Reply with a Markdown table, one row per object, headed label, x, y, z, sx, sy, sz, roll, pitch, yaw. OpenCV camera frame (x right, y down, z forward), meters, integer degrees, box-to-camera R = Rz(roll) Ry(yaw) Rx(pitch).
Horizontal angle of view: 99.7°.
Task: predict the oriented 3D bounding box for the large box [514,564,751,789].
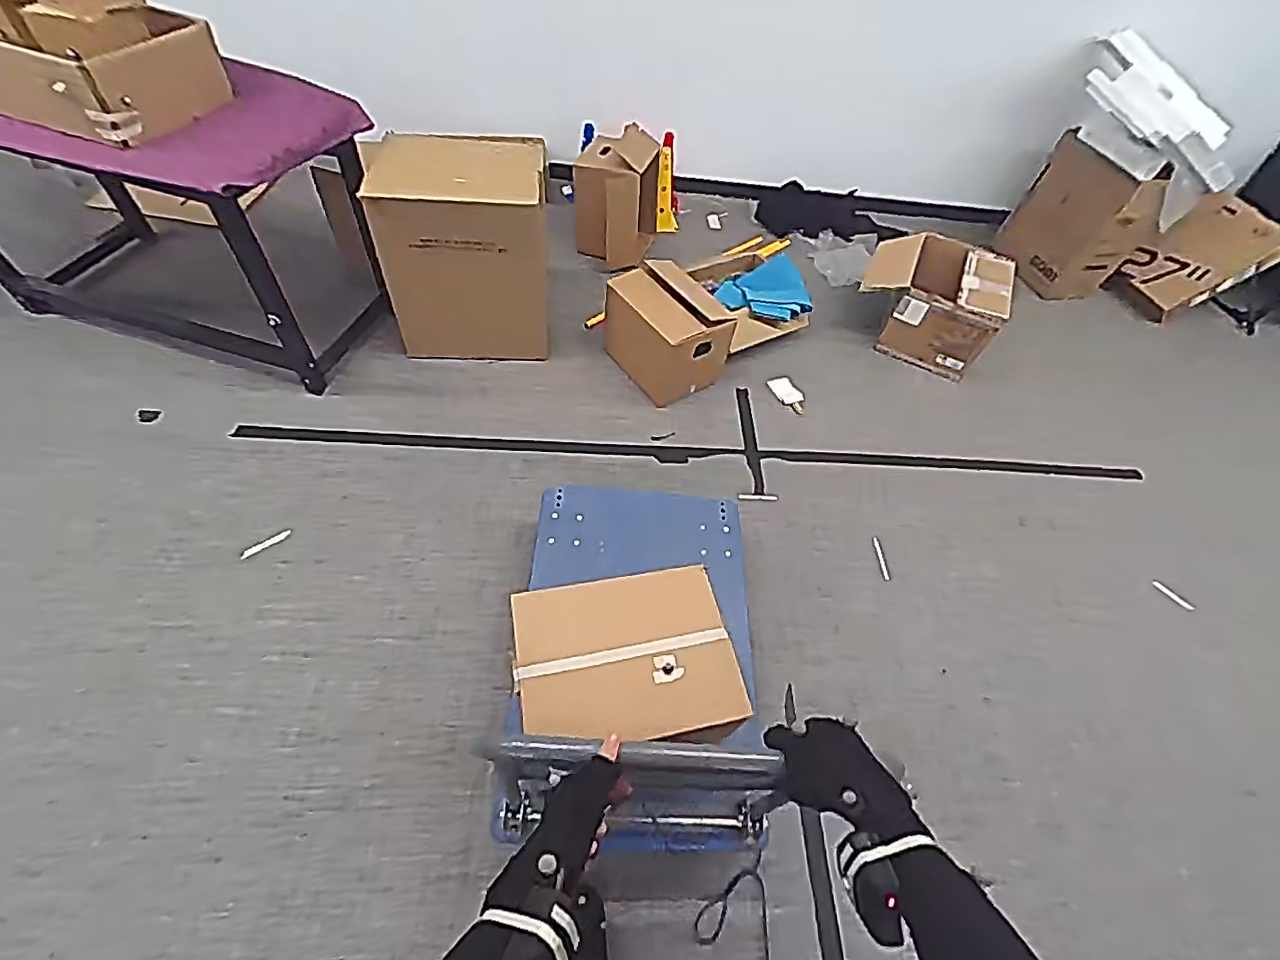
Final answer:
| label | x | y | z | sx | sy | sz | roll | pitch | yaw |
| --- | --- | --- | --- | --- | --- | --- | --- | --- | --- |
| large box | -0.040 | 0.414 | 1.140 | 0.408 | 0.320 | 0.320 | -7 | 55 | -14 |
